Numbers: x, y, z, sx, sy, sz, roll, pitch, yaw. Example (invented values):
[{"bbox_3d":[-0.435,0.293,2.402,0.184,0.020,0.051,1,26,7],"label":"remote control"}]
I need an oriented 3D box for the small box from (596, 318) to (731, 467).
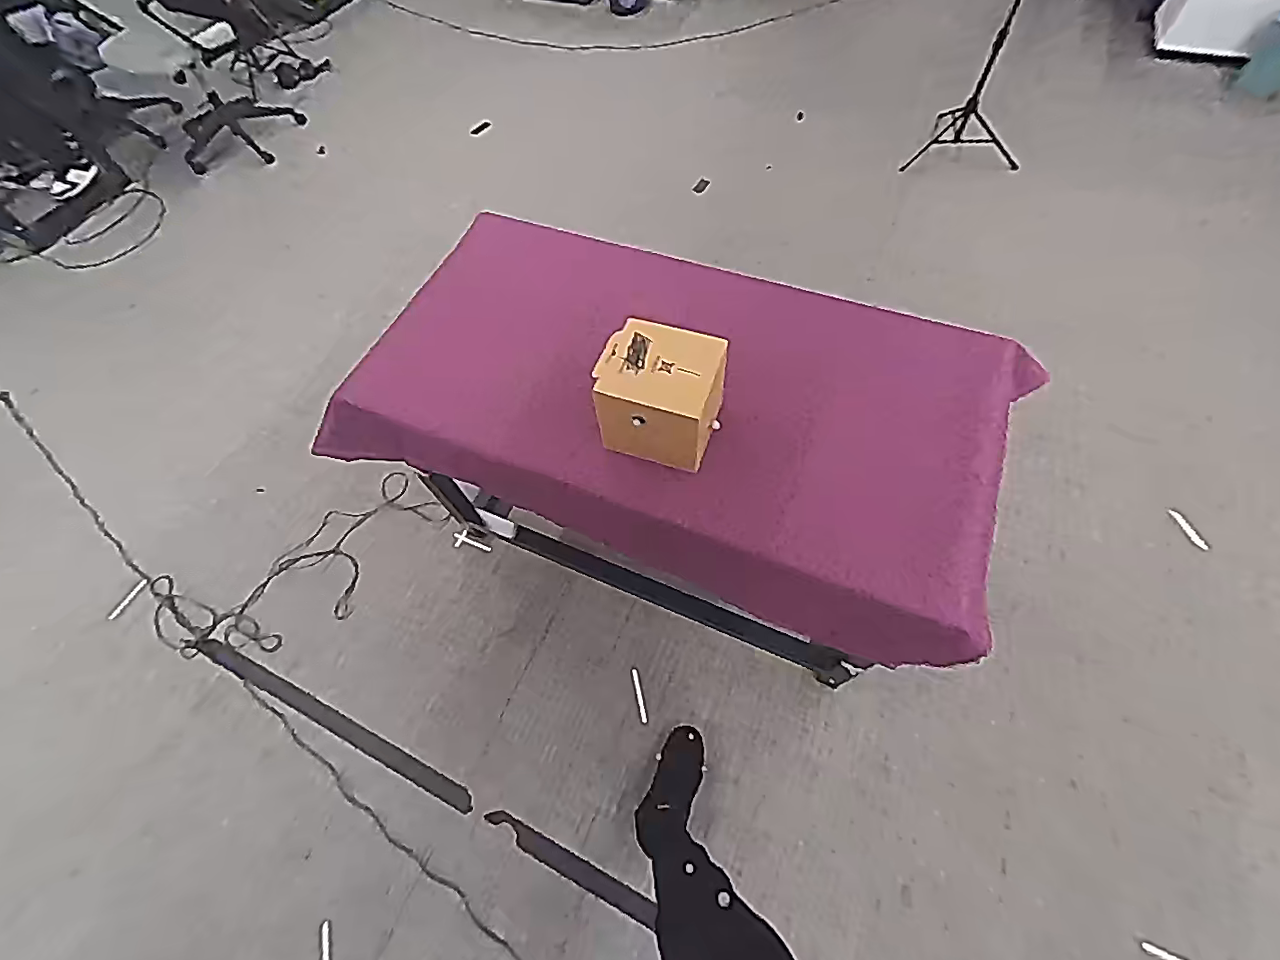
[{"bbox_3d":[0.043,-0.143,0.922,0.179,0.176,0.168,17,64,12],"label":"small box"}]
